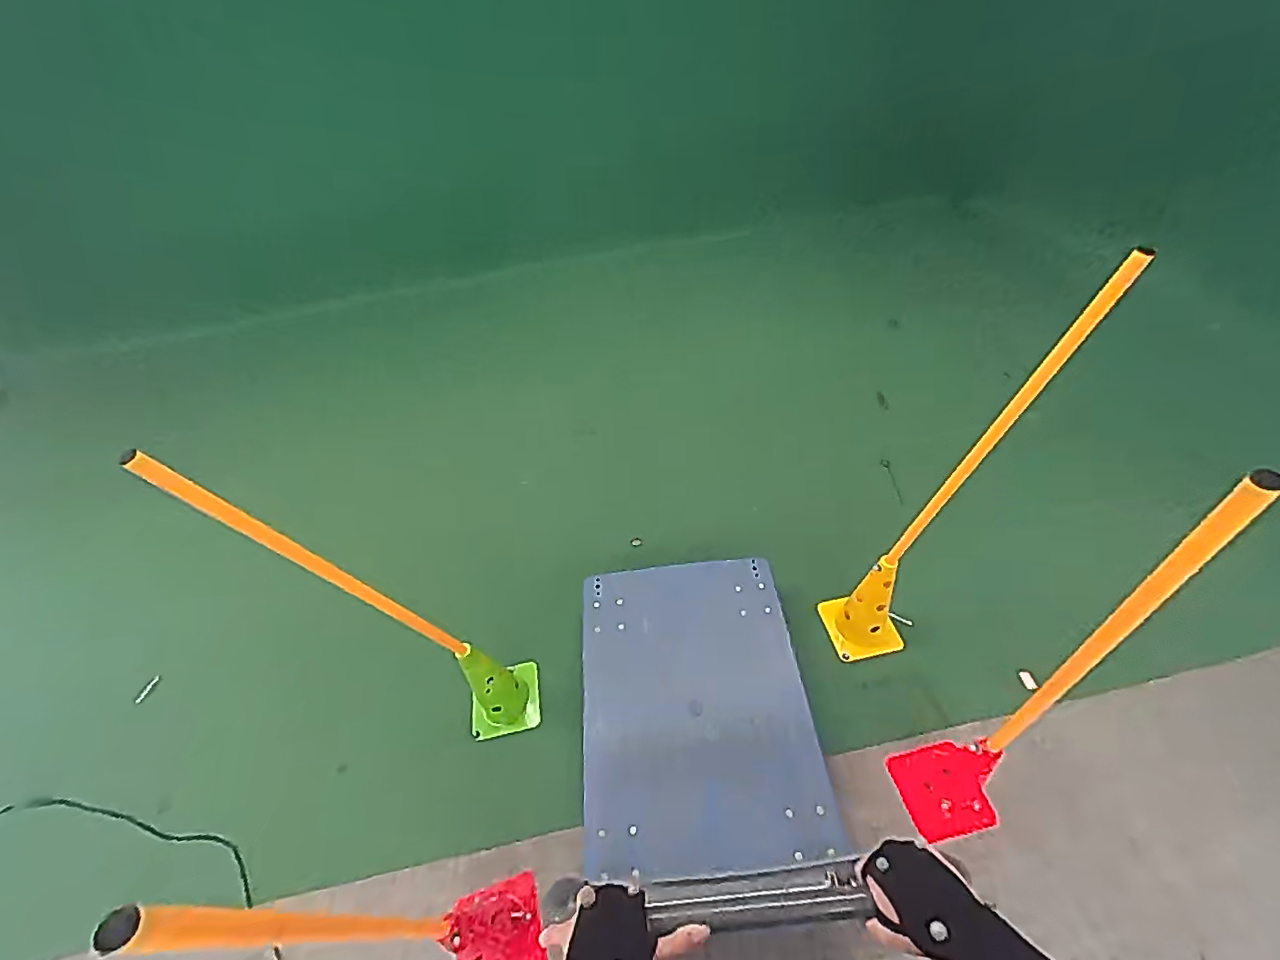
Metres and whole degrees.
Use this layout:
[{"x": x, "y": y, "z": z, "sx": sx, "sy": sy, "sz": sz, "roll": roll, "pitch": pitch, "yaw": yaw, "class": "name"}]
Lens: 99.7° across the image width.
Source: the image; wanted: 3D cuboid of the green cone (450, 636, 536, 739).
[{"x": -0.428, "y": 0.529, "z": 1.468, "sx": 0.200, "sy": 0.368, "sz": 0.202, "roll": -13, "pitch": 47, "yaw": -3, "class": "green cone"}]

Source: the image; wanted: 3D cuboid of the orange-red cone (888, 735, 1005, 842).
[{"x": 0.729, "y": 0.651, "z": 1.215, "sx": 0.198, "sy": 0.360, "sz": 0.199, "roll": -11, "pitch": 46, "yaw": -4, "class": "orange-red cone"}]
